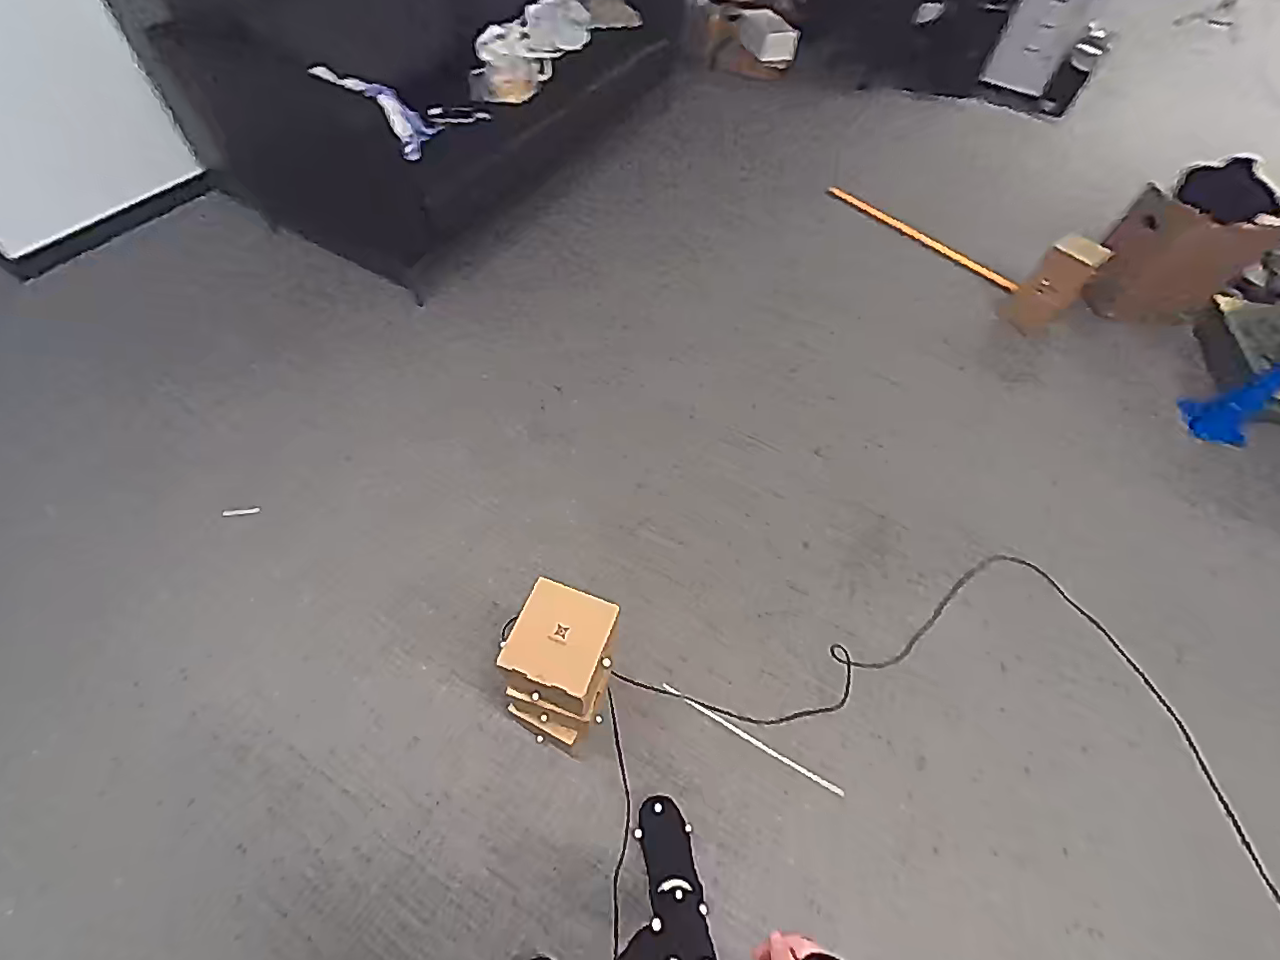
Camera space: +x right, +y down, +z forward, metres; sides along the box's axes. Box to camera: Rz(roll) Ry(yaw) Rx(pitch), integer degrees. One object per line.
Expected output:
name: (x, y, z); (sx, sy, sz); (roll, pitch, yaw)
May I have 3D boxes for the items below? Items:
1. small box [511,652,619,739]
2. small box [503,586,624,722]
small box: (-0.152, 0.441, 1.162); (0.179, 0.176, 0.168); (15, 56, 8)
small box: (-0.139, 0.337, 1.036); (0.168, 0.176, 0.179); (18, 57, 9)
